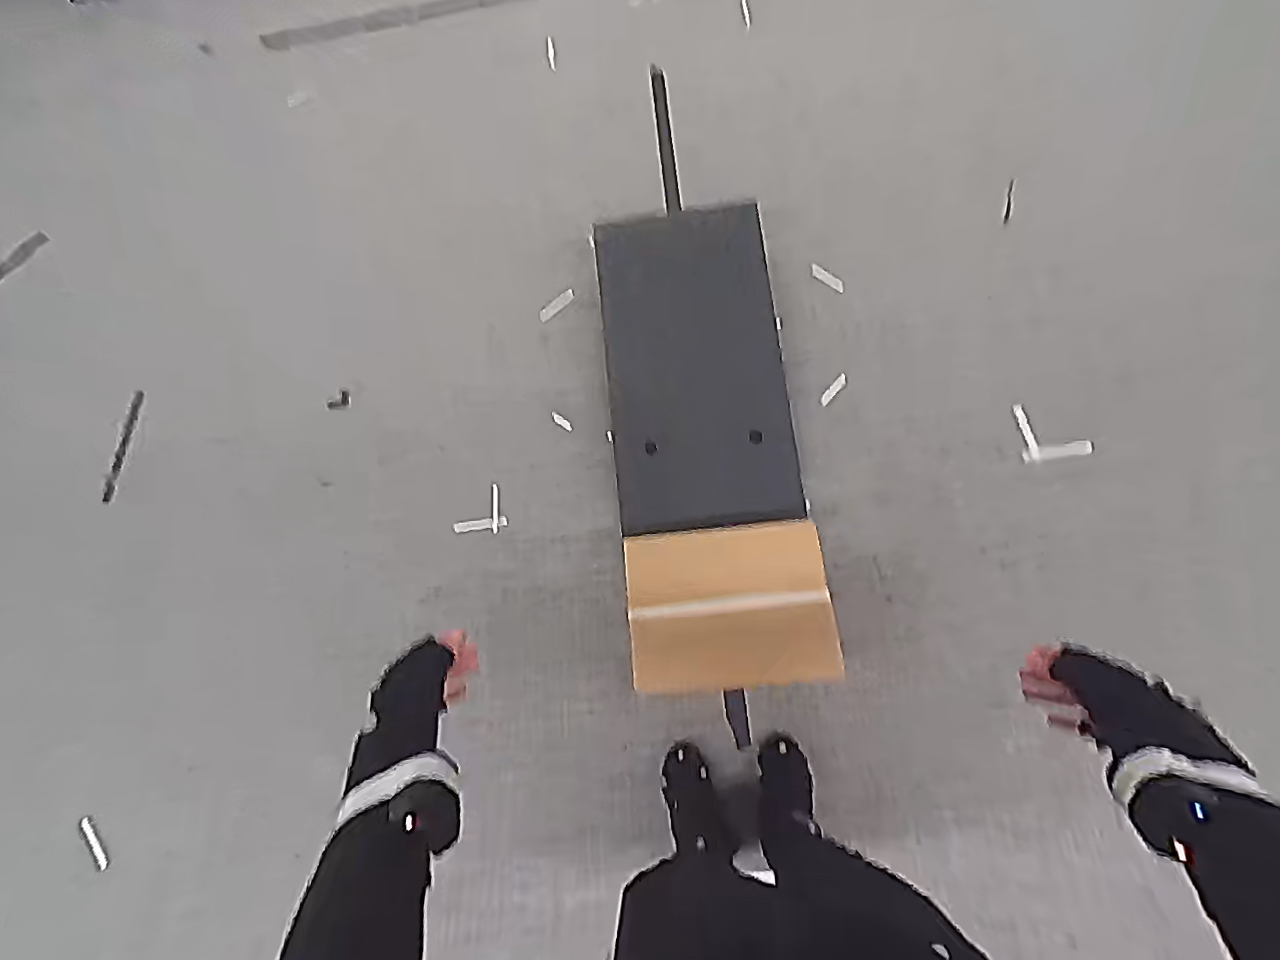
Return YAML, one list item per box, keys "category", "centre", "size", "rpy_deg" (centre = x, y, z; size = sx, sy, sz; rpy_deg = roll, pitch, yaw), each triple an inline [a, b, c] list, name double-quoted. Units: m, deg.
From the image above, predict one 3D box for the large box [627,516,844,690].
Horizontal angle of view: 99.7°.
- category: "large box"
  centre: [0.200, 0.293, 1.234]
  size: [0.408, 0.320, 0.320]
  rpy_deg: [-7, 68, 4]

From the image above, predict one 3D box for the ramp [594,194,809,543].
- category: "ramp"
  centre: [0.156, -0.323, 1.519]
  size: [0.509, 0.206, 0.991]
  rpy_deg: [-8, 70, 3]
